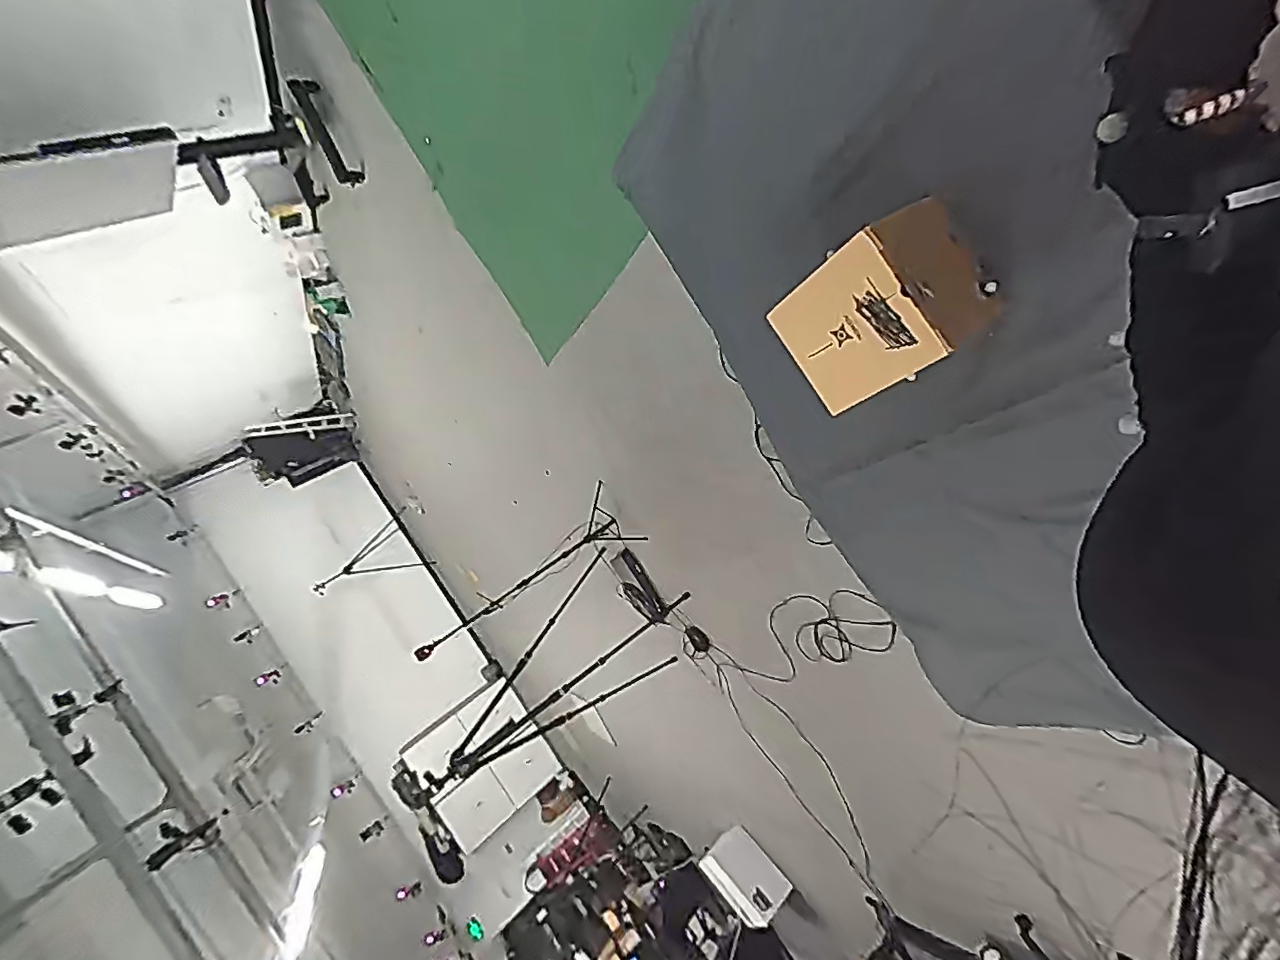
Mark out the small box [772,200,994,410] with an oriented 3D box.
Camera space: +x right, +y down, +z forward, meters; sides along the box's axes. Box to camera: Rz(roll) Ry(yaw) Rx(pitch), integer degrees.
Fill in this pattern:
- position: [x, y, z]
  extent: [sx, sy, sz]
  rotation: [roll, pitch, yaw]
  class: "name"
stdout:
- position: [0.314, -0.223, 0.694]
  extent: [0.168, 0.176, 0.179]
  rotation: [56, 151, 1]
  class: "small box"
